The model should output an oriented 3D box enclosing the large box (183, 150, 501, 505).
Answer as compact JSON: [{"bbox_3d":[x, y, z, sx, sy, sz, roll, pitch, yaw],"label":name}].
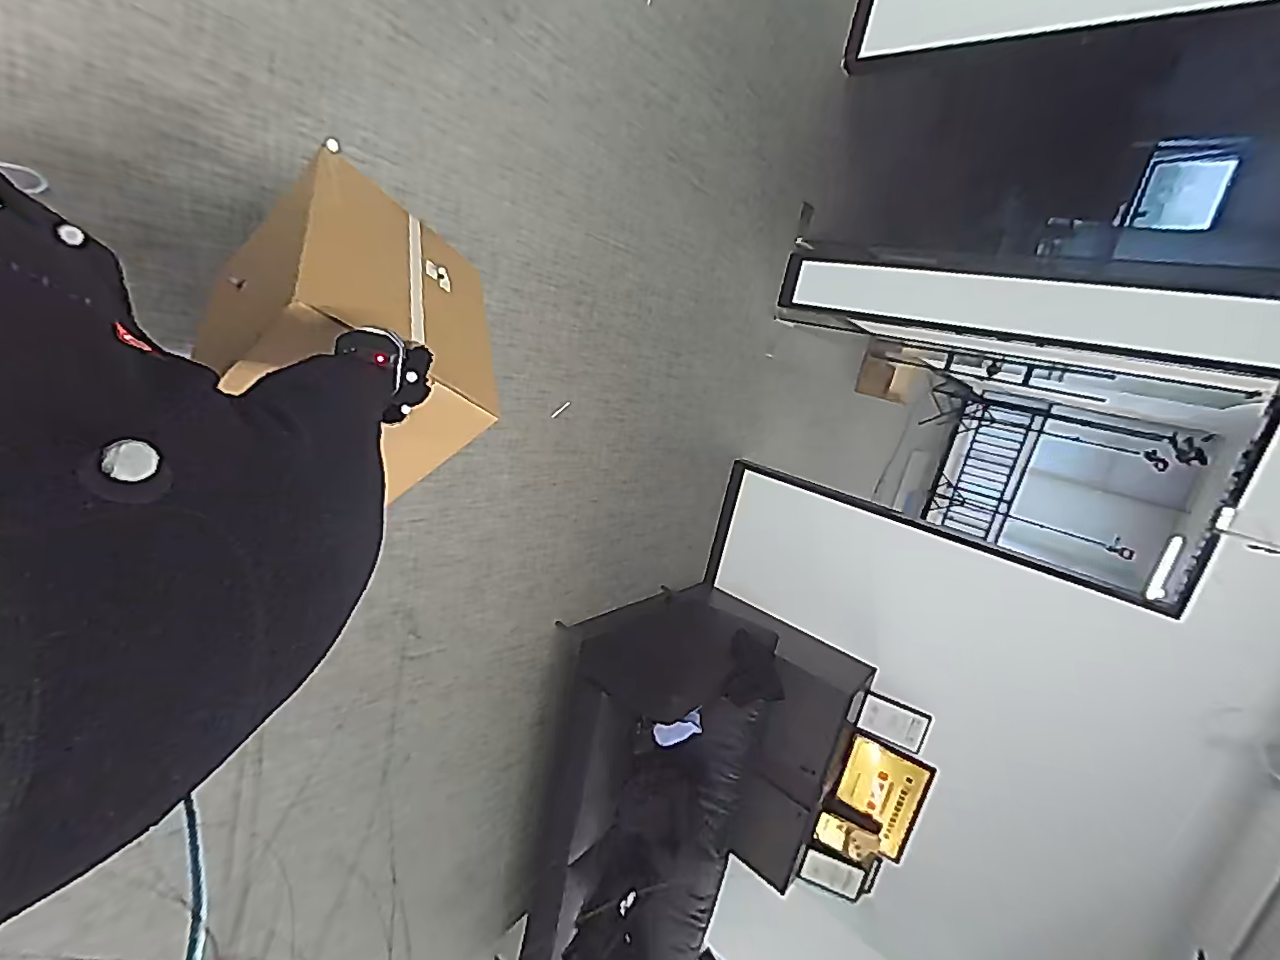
[{"bbox_3d":[-0.472,-0.230,0.894,0.320,0.408,0.320,-33,143,20],"label":"large box"}]
